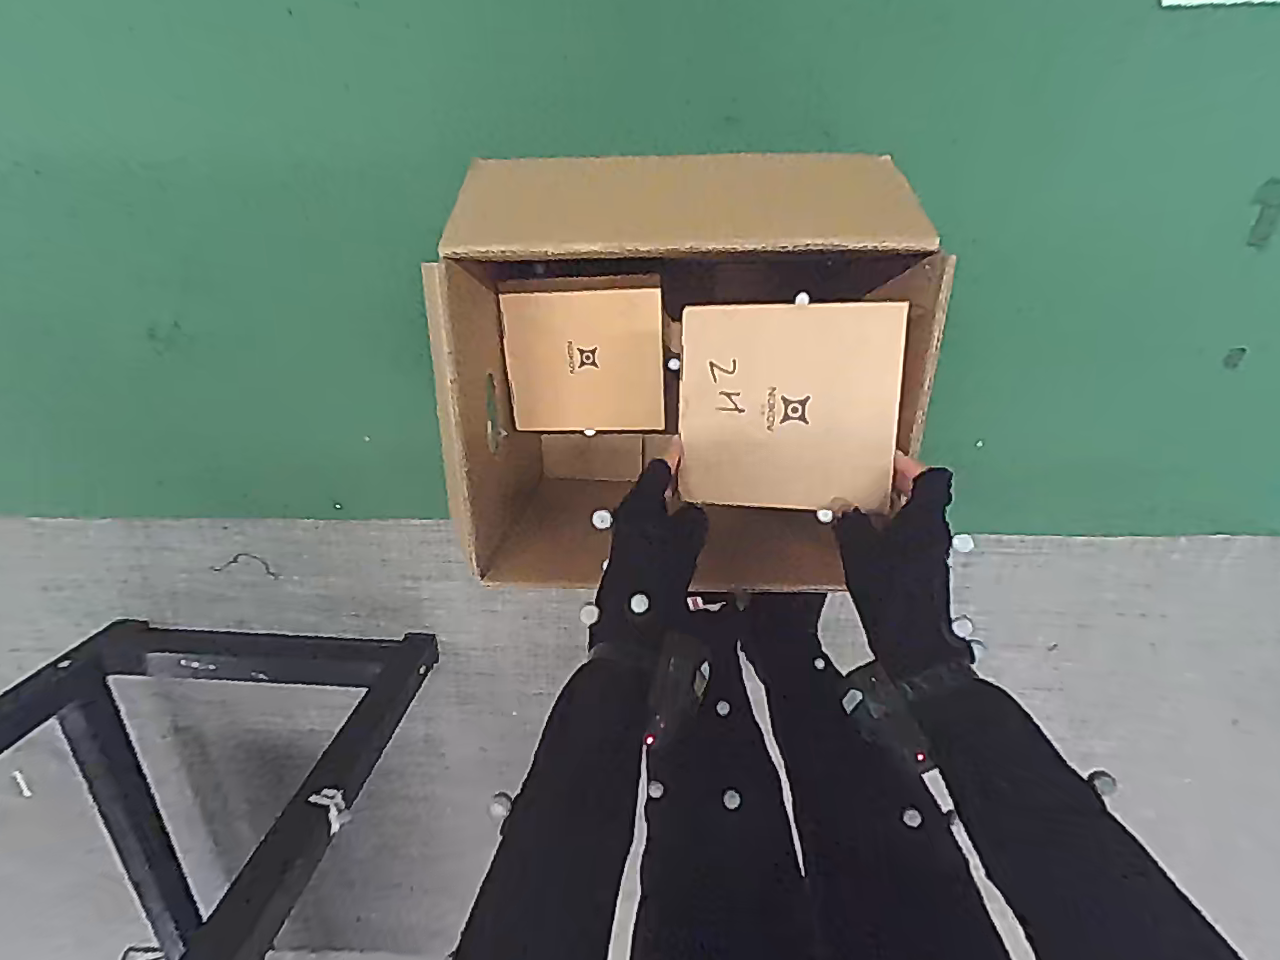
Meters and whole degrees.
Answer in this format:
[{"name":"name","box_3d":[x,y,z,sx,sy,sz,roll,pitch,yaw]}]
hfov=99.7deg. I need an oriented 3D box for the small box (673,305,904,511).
[{"name":"small box","box_3d":[0.133,-0.072,0.519,0.179,0.176,0.168,3,99,14]}]
